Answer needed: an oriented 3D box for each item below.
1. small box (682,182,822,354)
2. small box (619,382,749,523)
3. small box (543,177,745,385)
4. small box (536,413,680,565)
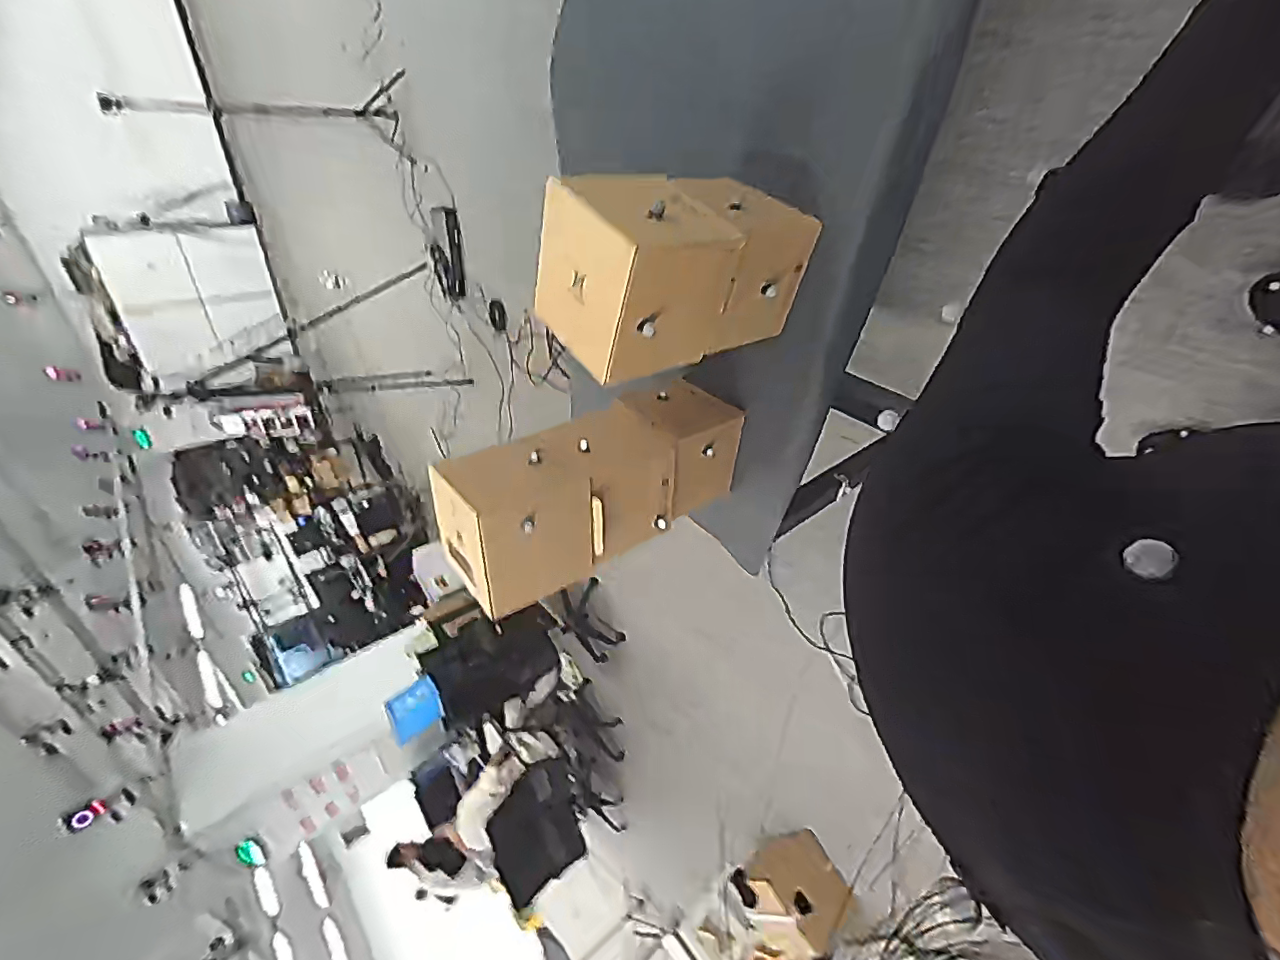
[{"bbox_3d":[0.122,-0.307,0.762,0.179,0.176,0.168,44,141,30],"label":"small box"},{"bbox_3d":[0.075,-0.058,0.978,0.168,0.176,0.179,37,137,38],"label":"small box"},{"bbox_3d":[0.003,-0.251,0.665,0.168,0.176,0.179,49,143,26],"label":"small box"},{"bbox_3d":[-0.051,0.004,0.893,0.179,0.176,0.168,34,134,42],"label":"small box"}]
